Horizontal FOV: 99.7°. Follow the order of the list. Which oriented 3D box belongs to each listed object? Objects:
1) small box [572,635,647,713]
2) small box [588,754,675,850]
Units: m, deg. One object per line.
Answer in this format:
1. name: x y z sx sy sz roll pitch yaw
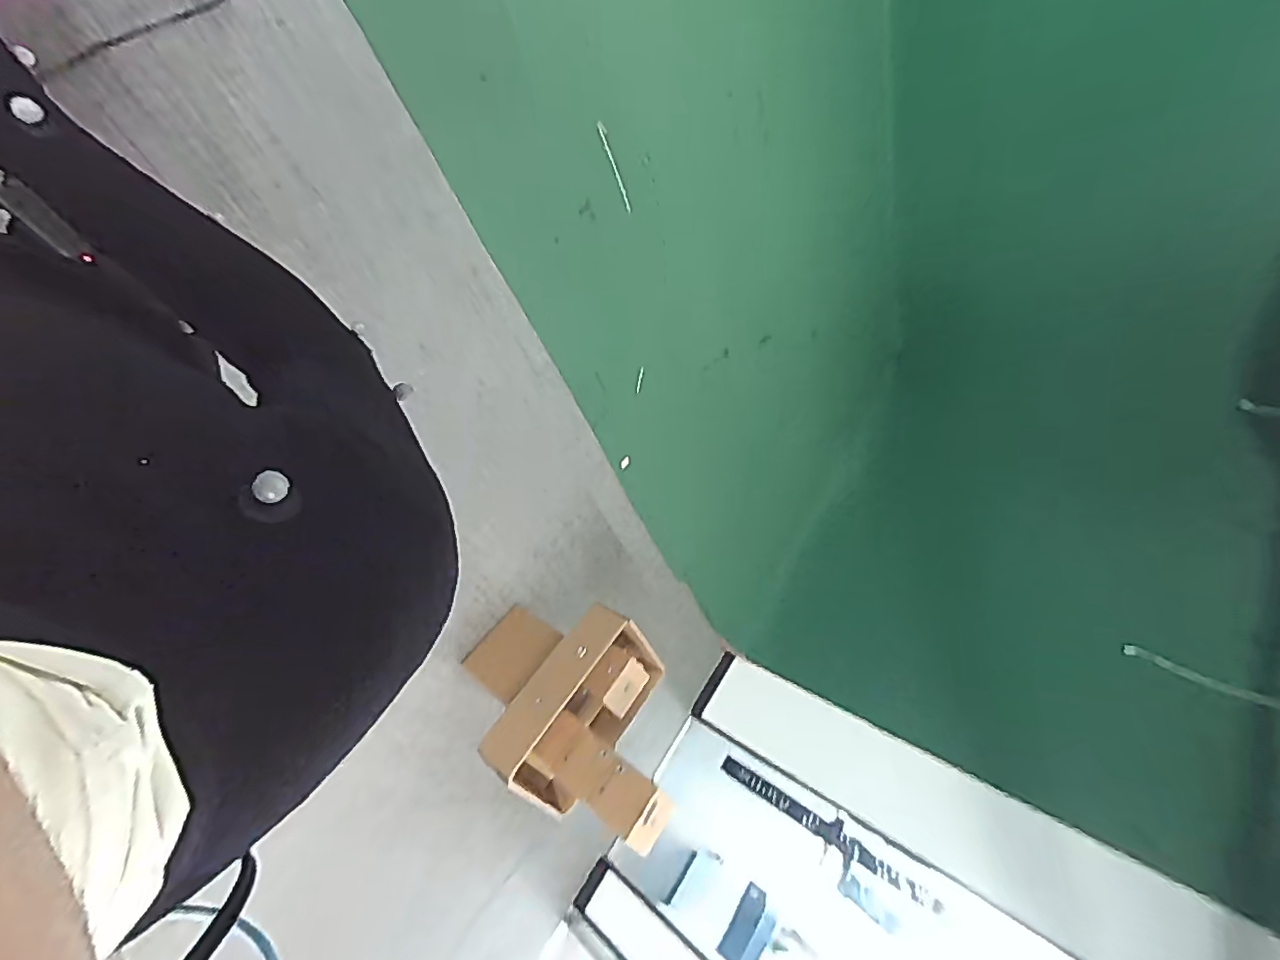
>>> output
1. small box: -0.109 0.686 1.931 0.179 0.176 0.168 -49 135 -22
2. small box: -0.028 0.954 1.614 0.168 0.176 0.179 -49 136 -24
